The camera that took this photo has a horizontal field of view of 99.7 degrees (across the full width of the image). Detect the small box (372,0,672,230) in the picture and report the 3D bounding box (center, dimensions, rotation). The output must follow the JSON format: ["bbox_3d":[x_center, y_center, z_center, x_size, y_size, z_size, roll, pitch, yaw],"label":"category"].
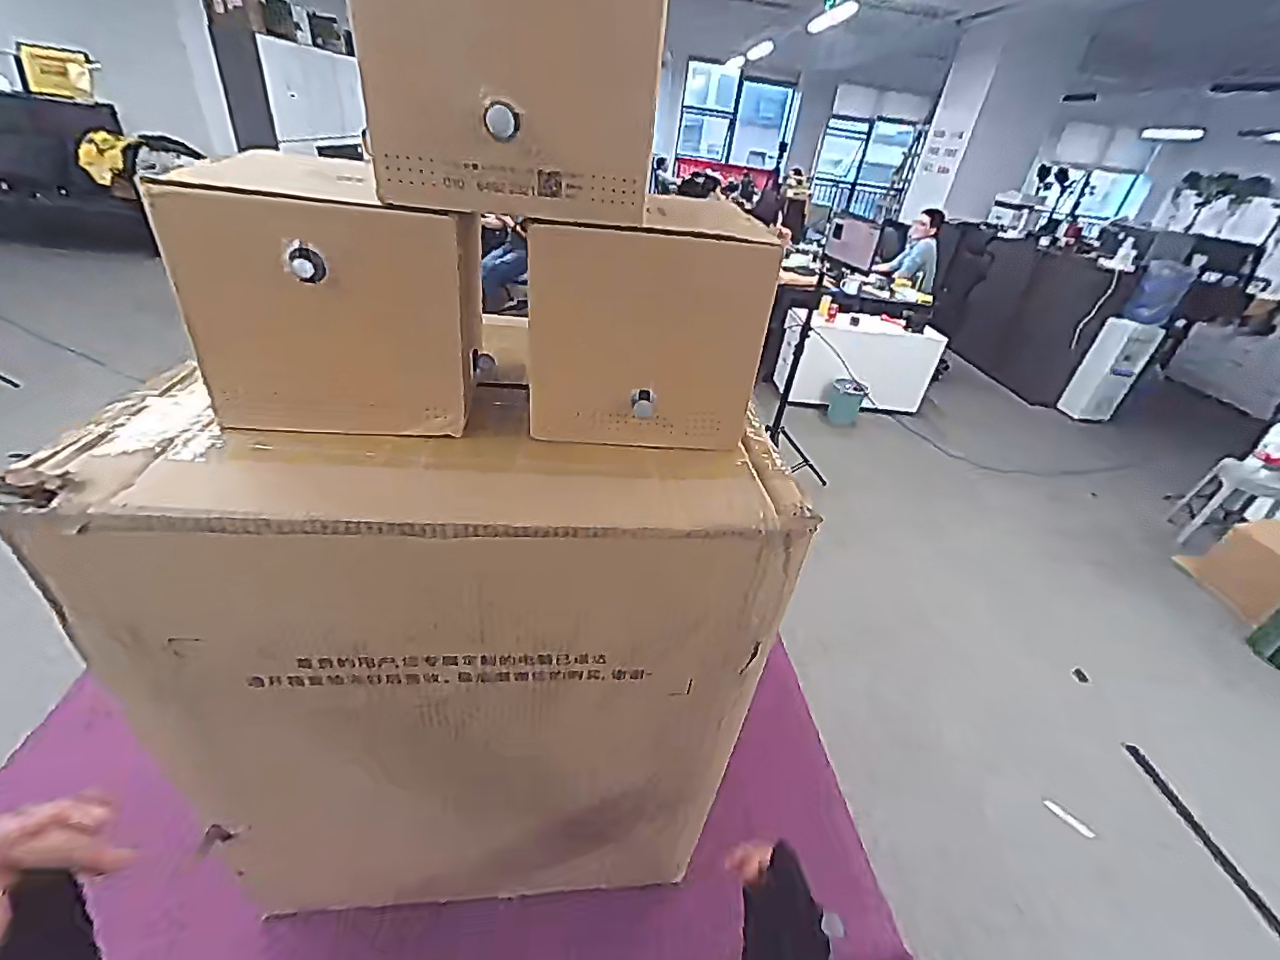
[{"bbox_3d":[-0.075,-0.283,0.371,0.168,0.176,0.179,1,35,-8],"label":"small box"}]

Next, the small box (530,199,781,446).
[{"bbox_3d":[0.000,-0.141,0.474,0.179,0.176,0.168,2,34,-7],"label":"small box"}]
